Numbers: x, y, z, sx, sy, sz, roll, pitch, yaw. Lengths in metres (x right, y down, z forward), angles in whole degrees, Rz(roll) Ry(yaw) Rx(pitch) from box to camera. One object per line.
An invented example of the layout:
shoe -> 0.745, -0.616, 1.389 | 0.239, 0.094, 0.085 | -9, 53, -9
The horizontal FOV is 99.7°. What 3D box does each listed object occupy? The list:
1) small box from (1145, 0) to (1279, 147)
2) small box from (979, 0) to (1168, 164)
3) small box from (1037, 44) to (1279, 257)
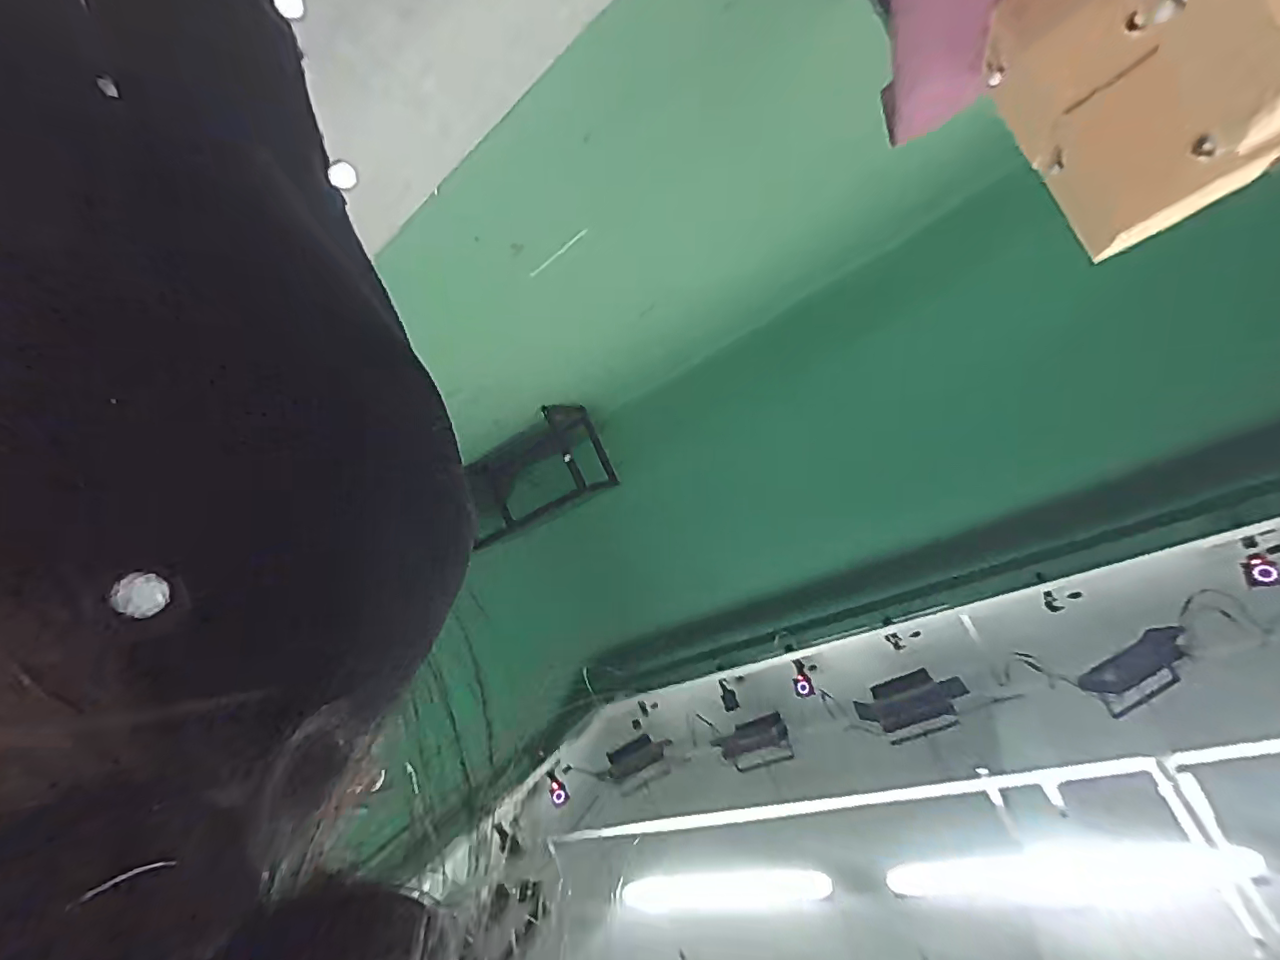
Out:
small box -> 0.469, -0.365, 0.337 | 0.179, 0.176, 0.168 | -29, 173, 37
small box -> 0.575, -0.565, 0.693 | 0.179, 0.176, 0.168 | -28, 174, 27
small box -> 0.644, -0.418, 0.672 | 0.179, 0.176, 0.168 | -29, 173, 29
